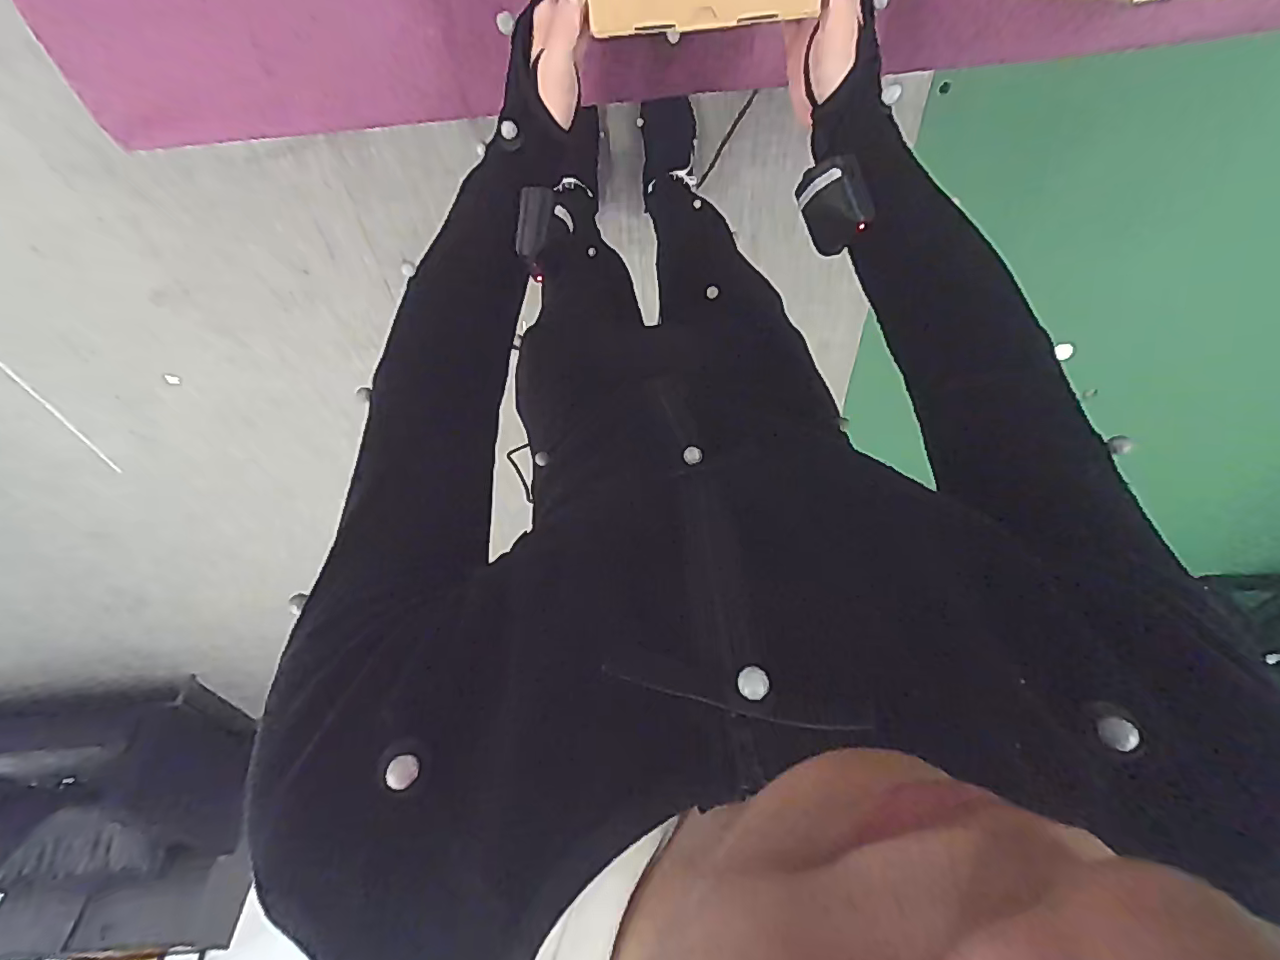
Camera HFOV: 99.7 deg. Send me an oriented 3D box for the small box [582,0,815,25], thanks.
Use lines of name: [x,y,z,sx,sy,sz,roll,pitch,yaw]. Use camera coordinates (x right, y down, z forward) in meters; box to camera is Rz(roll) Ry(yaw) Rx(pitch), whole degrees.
small box: [0.031,-0.440,0.379,0.168,0.176,0.179,-5,132,1]
